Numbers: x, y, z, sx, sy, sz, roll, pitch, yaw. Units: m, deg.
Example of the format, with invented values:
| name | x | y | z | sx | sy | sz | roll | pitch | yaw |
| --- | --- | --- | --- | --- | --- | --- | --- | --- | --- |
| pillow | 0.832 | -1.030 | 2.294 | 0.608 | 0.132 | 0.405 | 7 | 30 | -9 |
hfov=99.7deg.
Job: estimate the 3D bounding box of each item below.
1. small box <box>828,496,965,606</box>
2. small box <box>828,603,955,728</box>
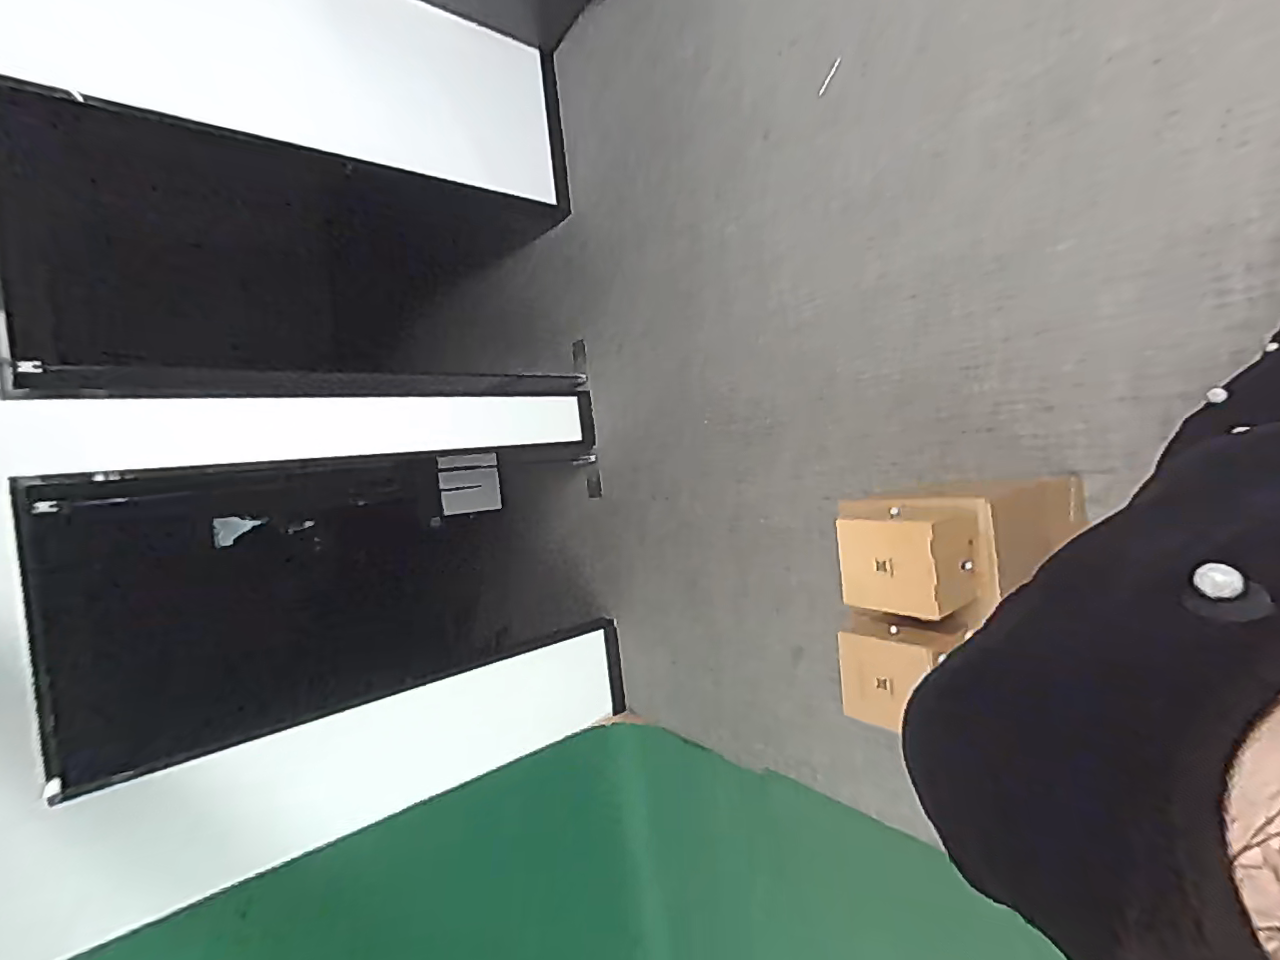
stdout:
| name | x | y | z | sx | sy | sz | roll | pitch | yaw |
| --- | --- | --- | --- | --- | --- | --- | --- | --- | --- |
| small box | 0.482 | 0.124 | 1.020 | 0.179 | 0.176 | 0.168 | -1 | 97 | 51 |
| small box | 0.492 | 0.345 | 1.048 | 0.179 | 0.176 | 0.168 | -2 | 92 | 51 |
